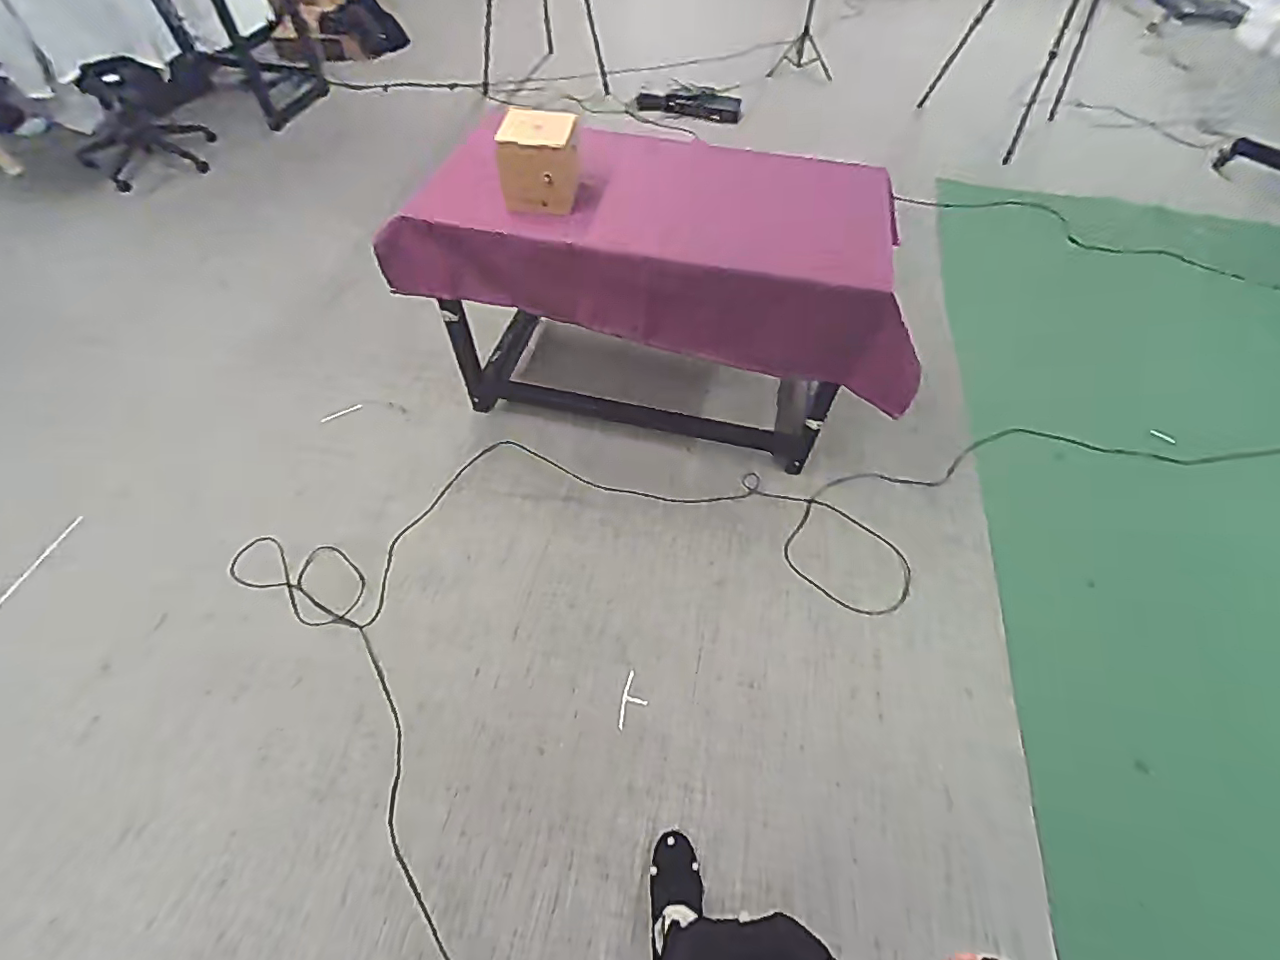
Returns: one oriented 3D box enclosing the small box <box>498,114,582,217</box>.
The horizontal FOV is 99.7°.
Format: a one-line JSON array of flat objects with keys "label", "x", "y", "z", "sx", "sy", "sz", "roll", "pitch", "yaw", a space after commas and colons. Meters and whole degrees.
[{"label": "small box", "x": -0.241, "y": -0.786, "z": 1.360, "sx": 0.168, "sy": 0.176, "sz": 0.179, "roll": 7, "pitch": 54, "yaw": 2}]
